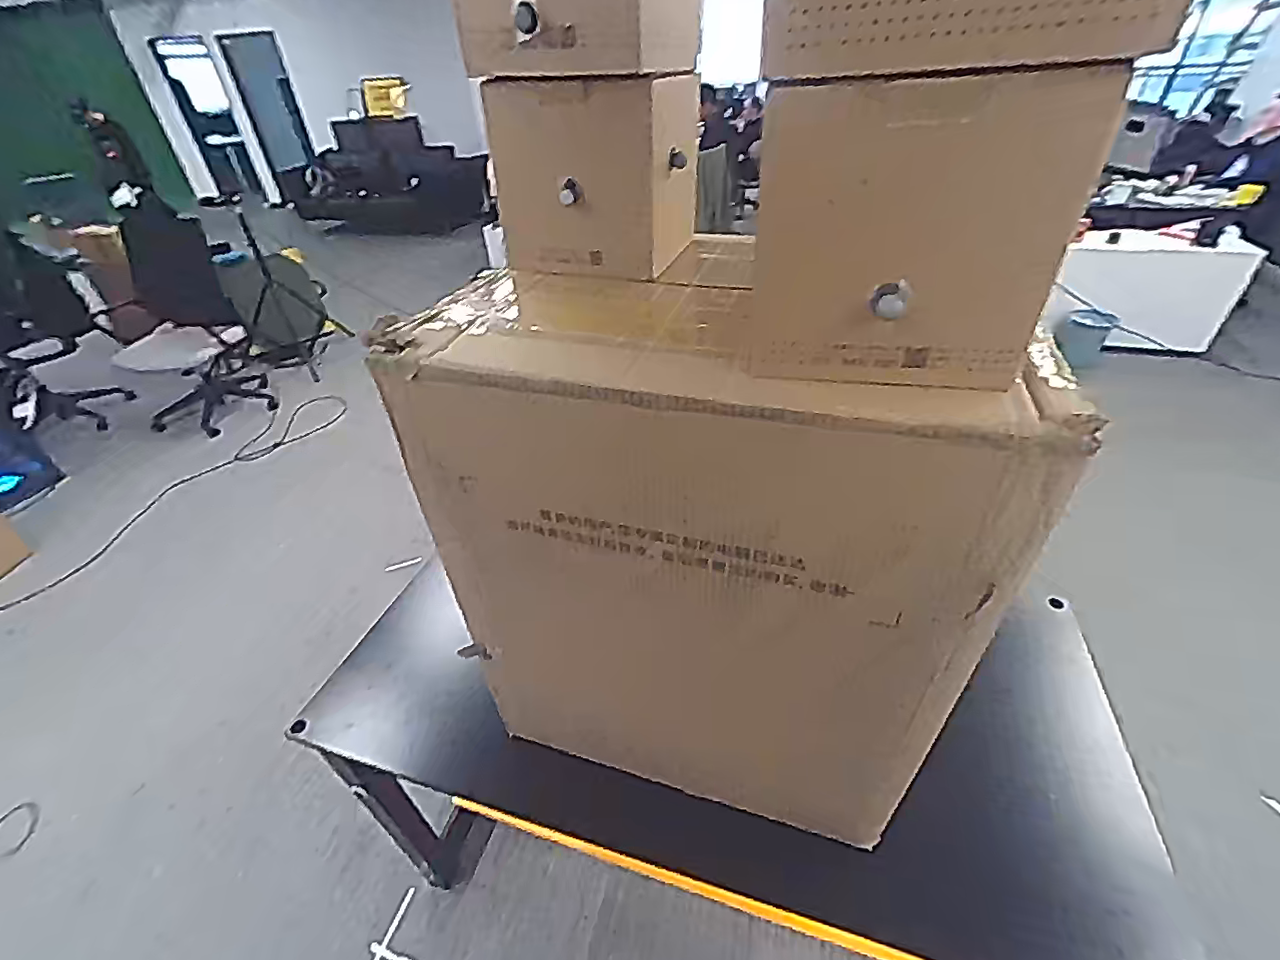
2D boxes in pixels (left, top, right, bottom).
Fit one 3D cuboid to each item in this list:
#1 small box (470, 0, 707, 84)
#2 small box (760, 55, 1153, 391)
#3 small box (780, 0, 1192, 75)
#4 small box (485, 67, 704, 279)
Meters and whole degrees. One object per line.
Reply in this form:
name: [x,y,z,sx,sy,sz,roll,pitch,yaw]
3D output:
small box: [-0.040,-0.443,0.456,0.168,0.176,0.179,11,40,17]
small box: [0.176,-0.180,0.369,0.168,0.176,0.179,6,40,15]
small box: [0.168,-0.301,0.257,0.179,0.176,0.168,9,41,16]
small box: [-0.033,-0.324,0.569,0.168,0.176,0.179,11,40,15]
